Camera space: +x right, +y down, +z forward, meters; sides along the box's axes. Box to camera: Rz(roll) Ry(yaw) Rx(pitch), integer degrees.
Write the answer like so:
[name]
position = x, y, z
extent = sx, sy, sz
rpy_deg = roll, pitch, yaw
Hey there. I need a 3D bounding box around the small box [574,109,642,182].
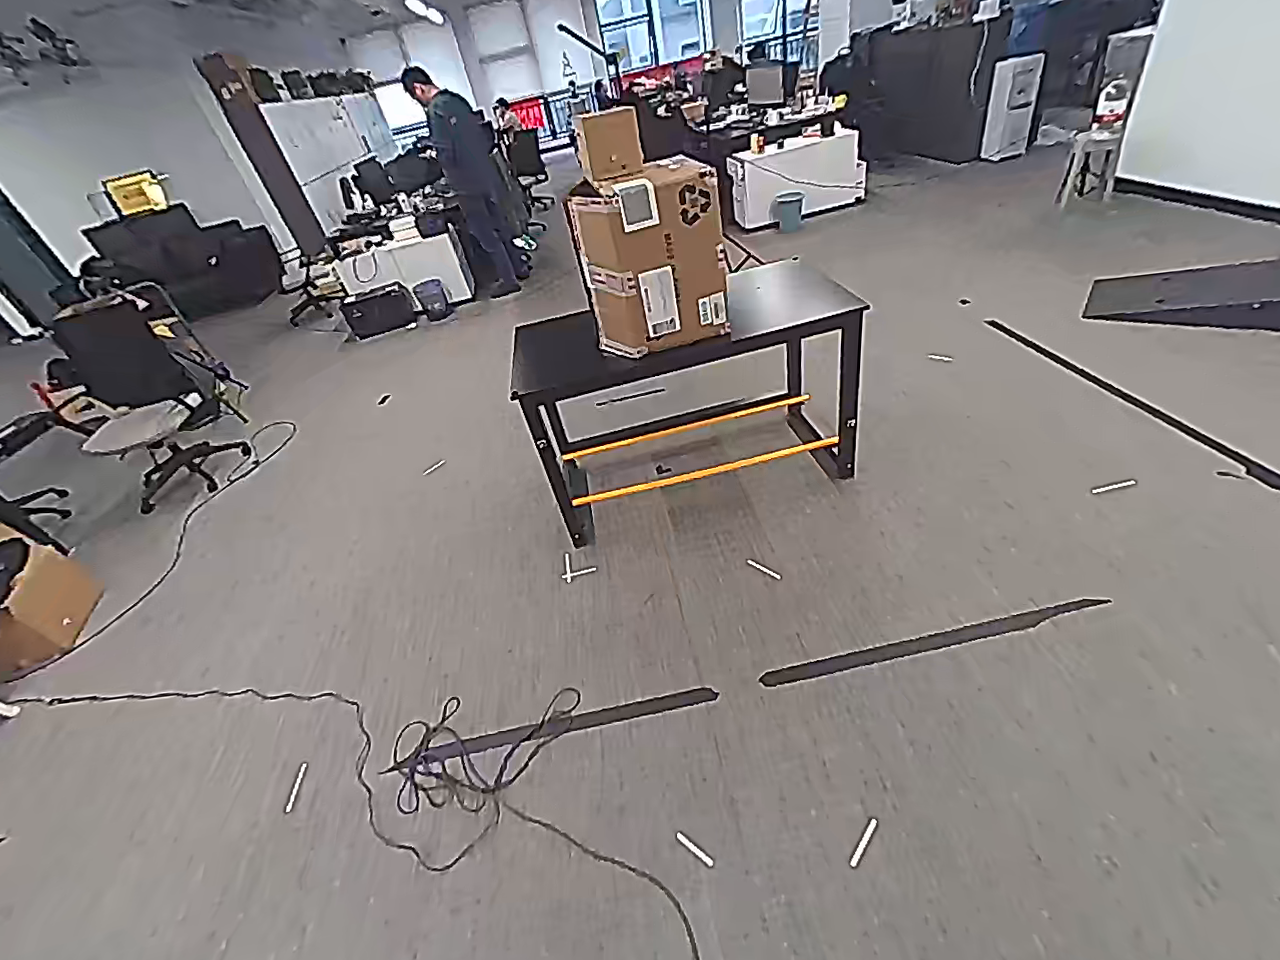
[small box]
position = -0.099, -1.044, 1.689
extent = 0.168, 0.176, 0.179
rpy_deg = -16, 36, -5
